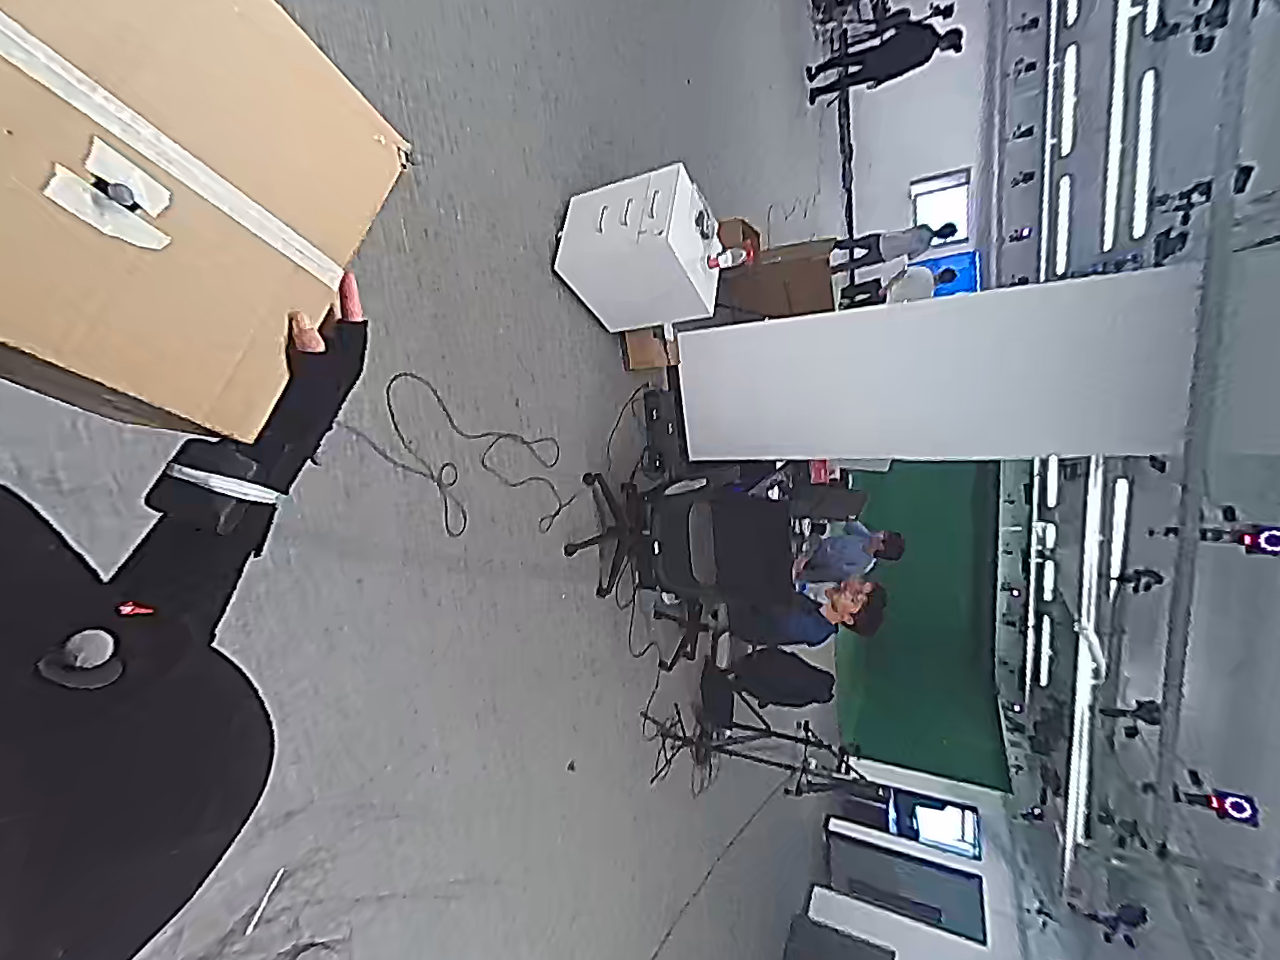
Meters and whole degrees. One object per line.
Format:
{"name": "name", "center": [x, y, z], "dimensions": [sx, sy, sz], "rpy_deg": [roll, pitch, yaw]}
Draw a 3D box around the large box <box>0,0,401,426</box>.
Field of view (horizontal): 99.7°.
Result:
{"name": "large box", "center": [-0.488, -0.270, 0.399], "dimensions": [0.408, 0.320, 0.320], "rpy_deg": [40, 64, -54]}
